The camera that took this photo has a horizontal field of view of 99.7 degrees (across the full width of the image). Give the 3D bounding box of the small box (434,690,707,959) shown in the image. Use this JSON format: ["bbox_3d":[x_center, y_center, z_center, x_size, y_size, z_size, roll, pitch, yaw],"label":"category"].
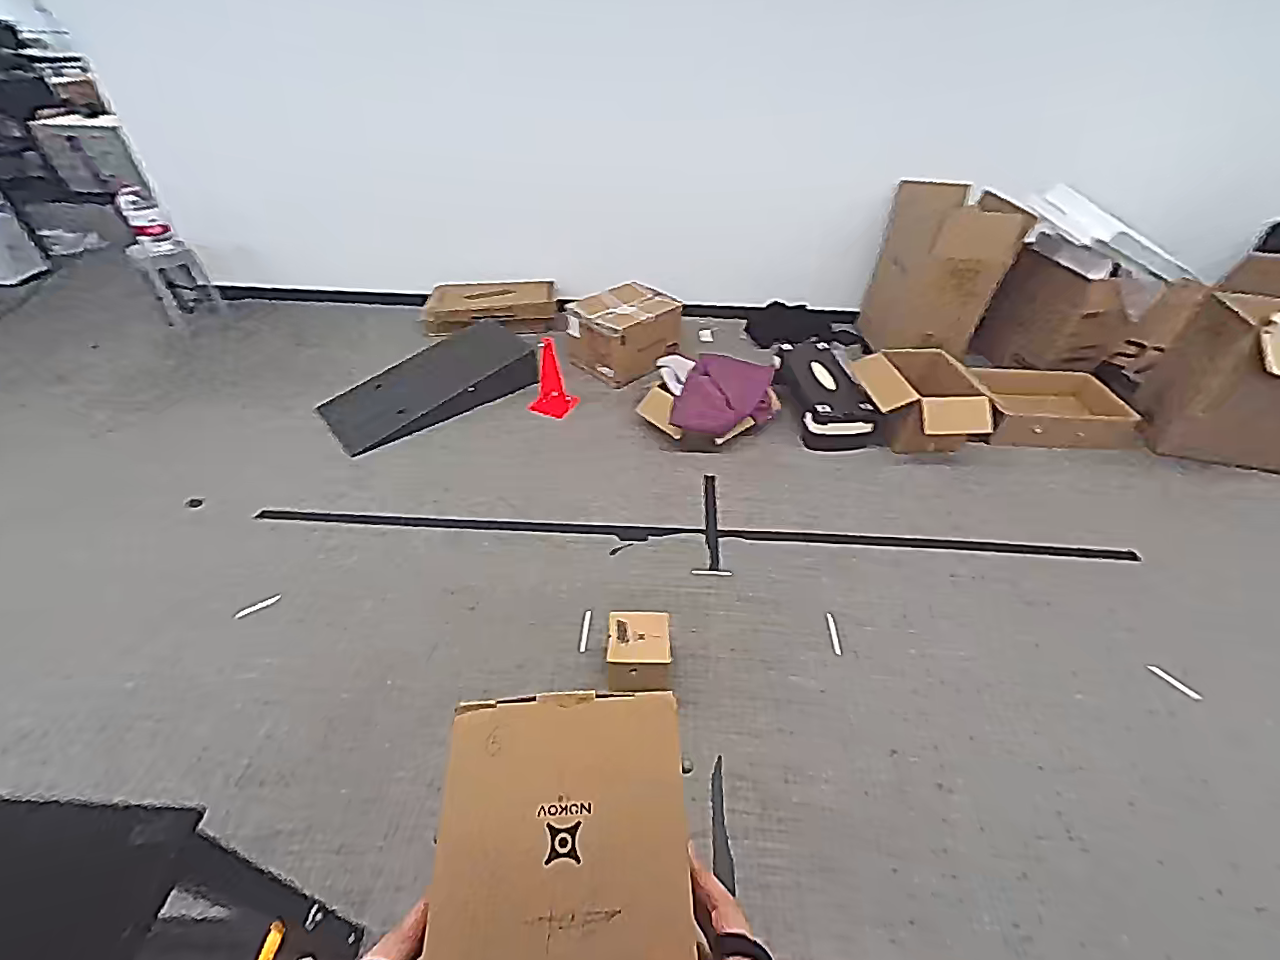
[{"bbox_3d":[-0.045,0.278,0.427,0.168,0.176,0.179,-2,57,-2],"label":"small box"}]

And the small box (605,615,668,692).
[{"bbox_3d":[-0.009,0.516,1.587,0.179,0.176,0.168,1,41,-1],"label":"small box"}]
